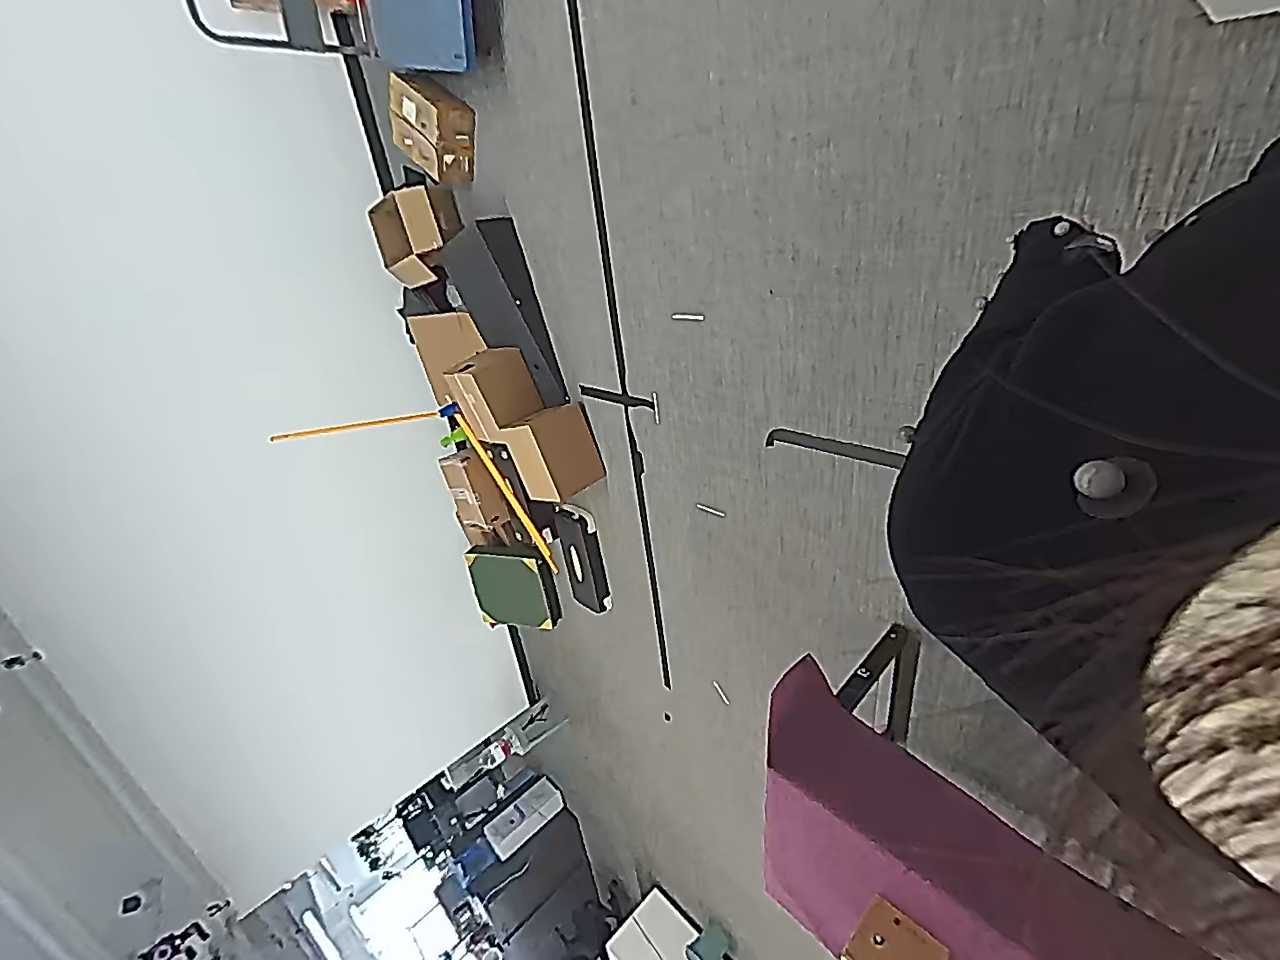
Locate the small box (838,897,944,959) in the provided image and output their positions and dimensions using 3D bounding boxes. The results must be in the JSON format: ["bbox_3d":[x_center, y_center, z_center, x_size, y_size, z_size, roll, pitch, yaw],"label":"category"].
[{"bbox_3d":[0.557,1.096,1.209,0.168,0.176,0.179,20,127,44],"label":"small box"}]
